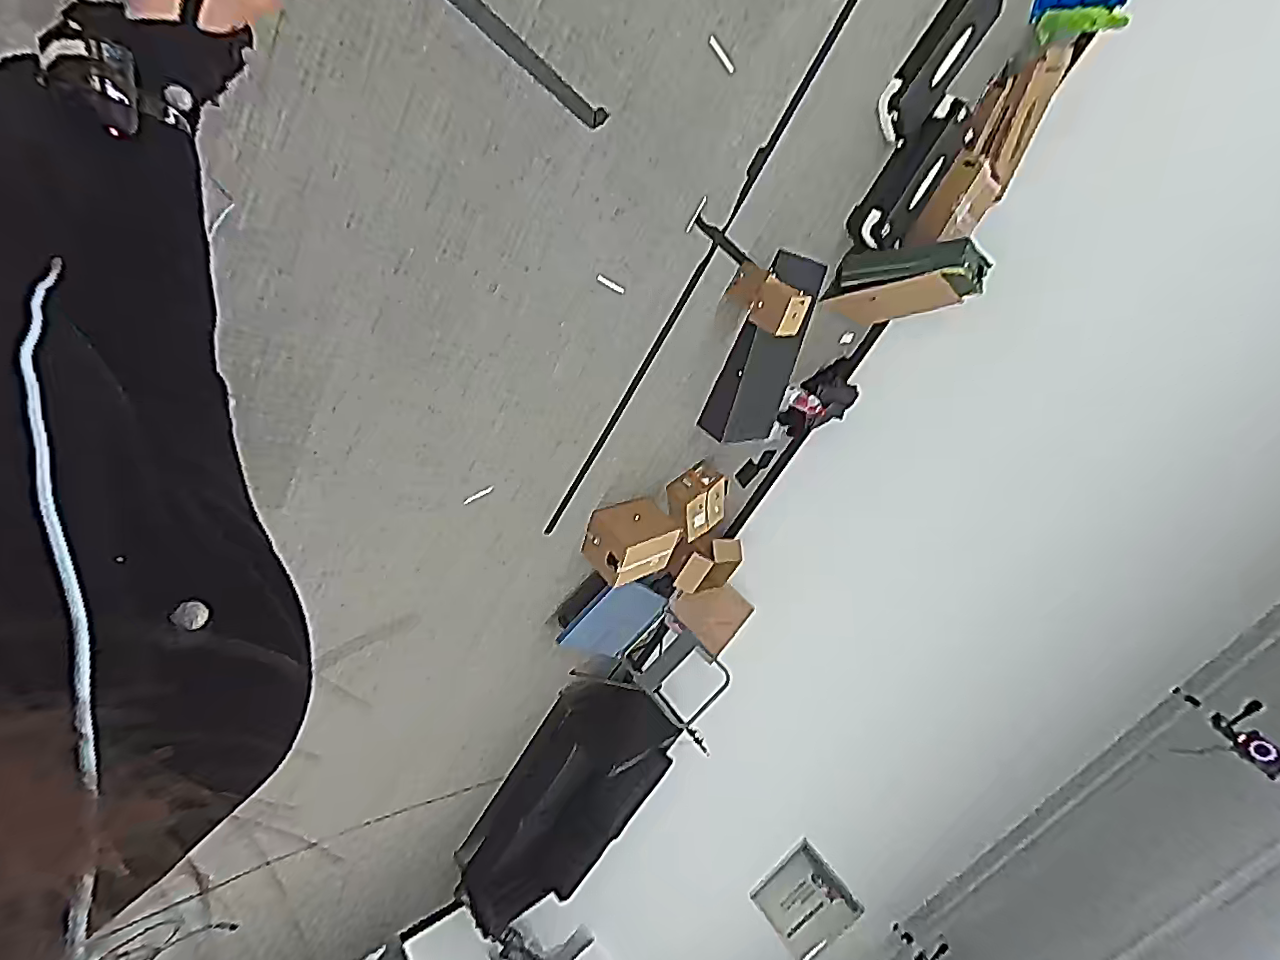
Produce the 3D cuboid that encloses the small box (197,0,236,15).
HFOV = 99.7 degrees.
[{"bbox_3d":[-0.400,-0.506,0.399,0.168,0.176,0.179,-58,158,5],"label":"small box"}]
